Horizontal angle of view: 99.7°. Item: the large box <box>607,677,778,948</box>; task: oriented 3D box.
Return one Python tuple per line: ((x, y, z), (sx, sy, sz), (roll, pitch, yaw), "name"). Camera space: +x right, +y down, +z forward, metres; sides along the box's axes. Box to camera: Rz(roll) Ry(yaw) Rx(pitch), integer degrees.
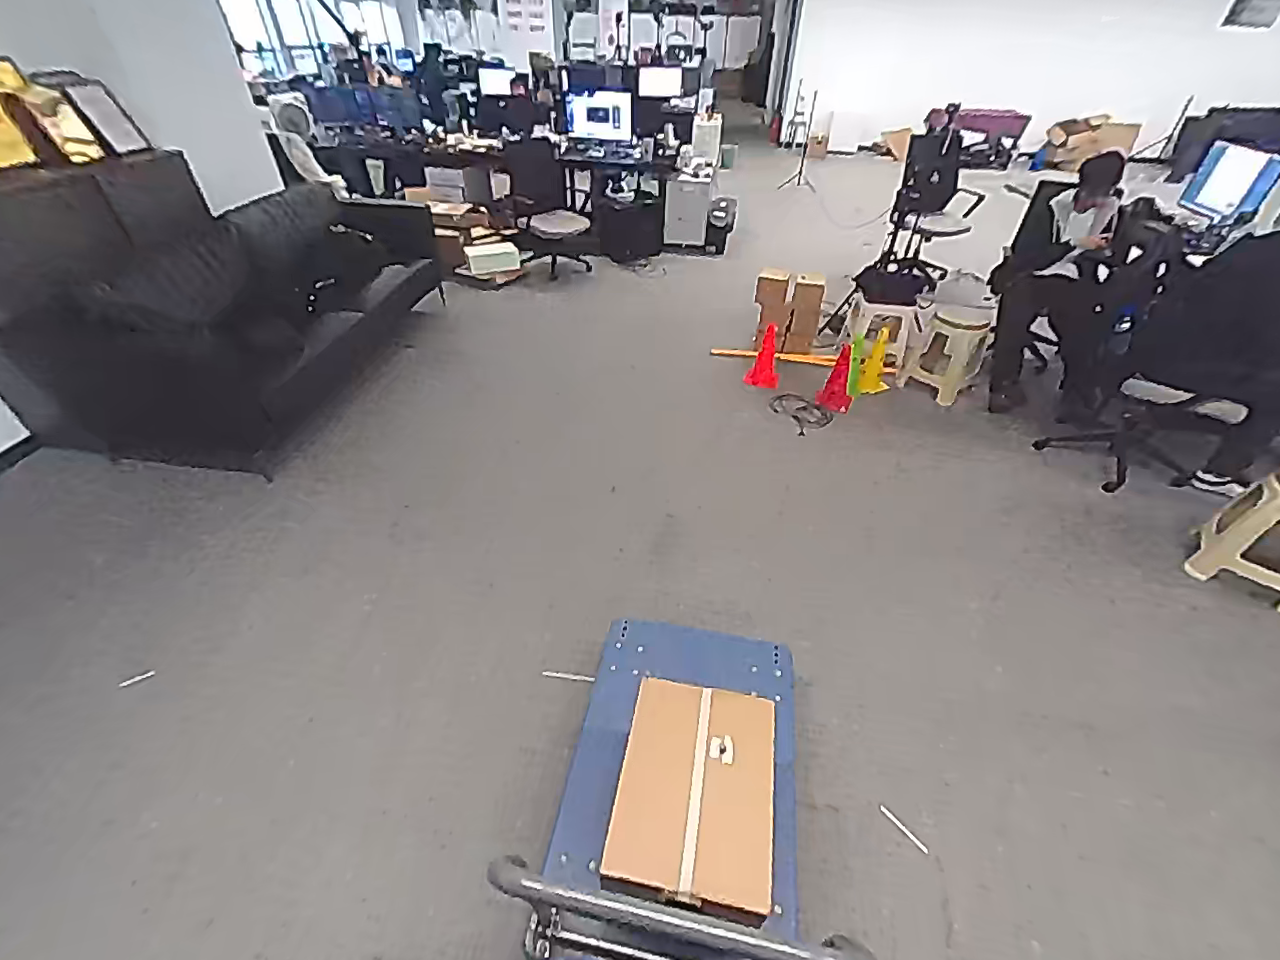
((0.123, 0.722, 1.198), (0.320, 0.320, 0.408), (8, 40, 8), "large box")
